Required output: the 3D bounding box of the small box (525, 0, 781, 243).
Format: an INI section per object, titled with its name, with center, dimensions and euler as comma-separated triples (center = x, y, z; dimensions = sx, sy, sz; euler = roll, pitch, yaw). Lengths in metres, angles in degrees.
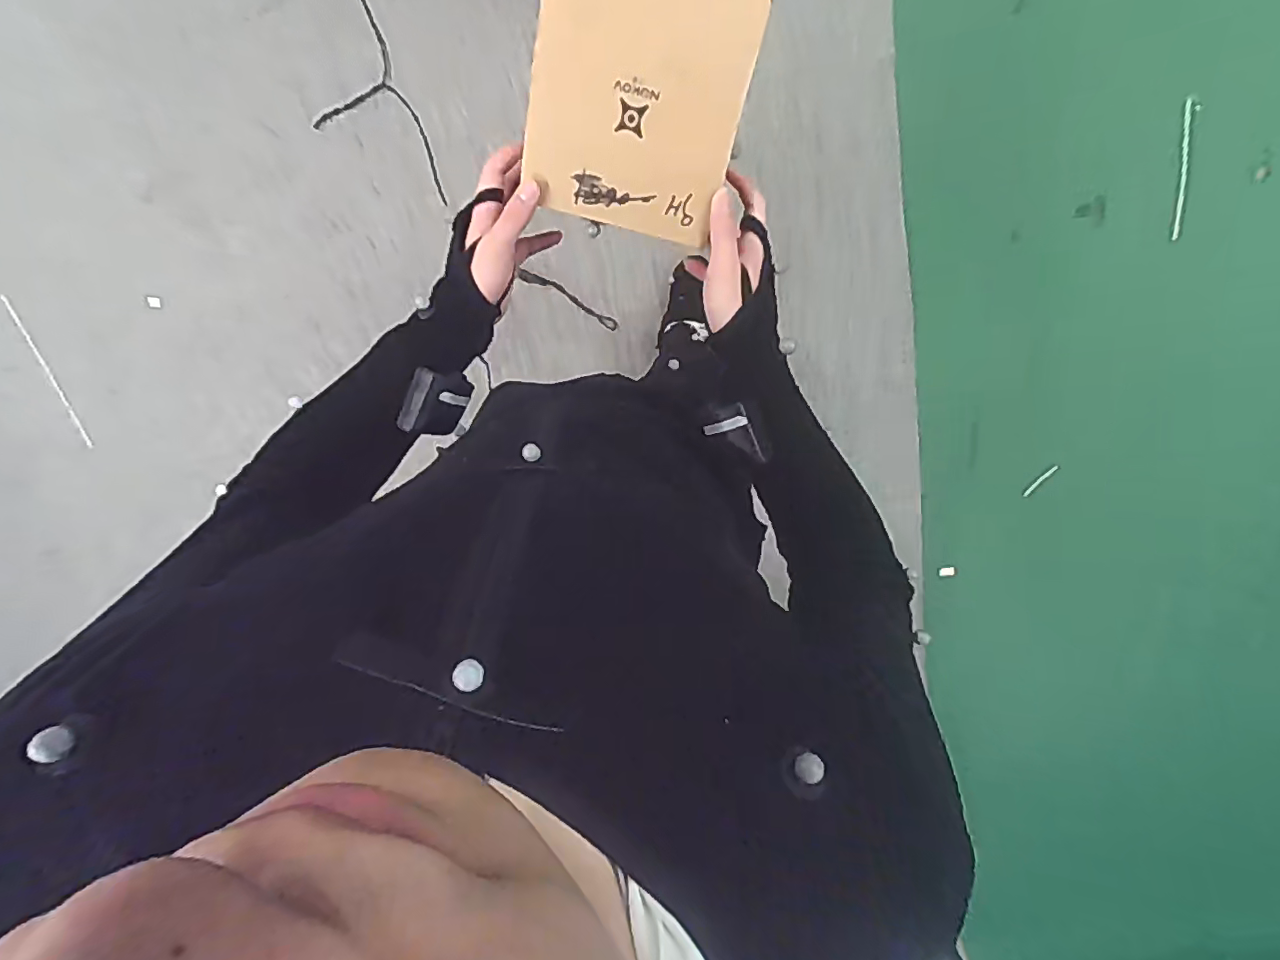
[small box]
center = 0.007, -0.330, 0.485
dimensions = 0.168, 0.176, 0.179
euler = 14, 118, -2
